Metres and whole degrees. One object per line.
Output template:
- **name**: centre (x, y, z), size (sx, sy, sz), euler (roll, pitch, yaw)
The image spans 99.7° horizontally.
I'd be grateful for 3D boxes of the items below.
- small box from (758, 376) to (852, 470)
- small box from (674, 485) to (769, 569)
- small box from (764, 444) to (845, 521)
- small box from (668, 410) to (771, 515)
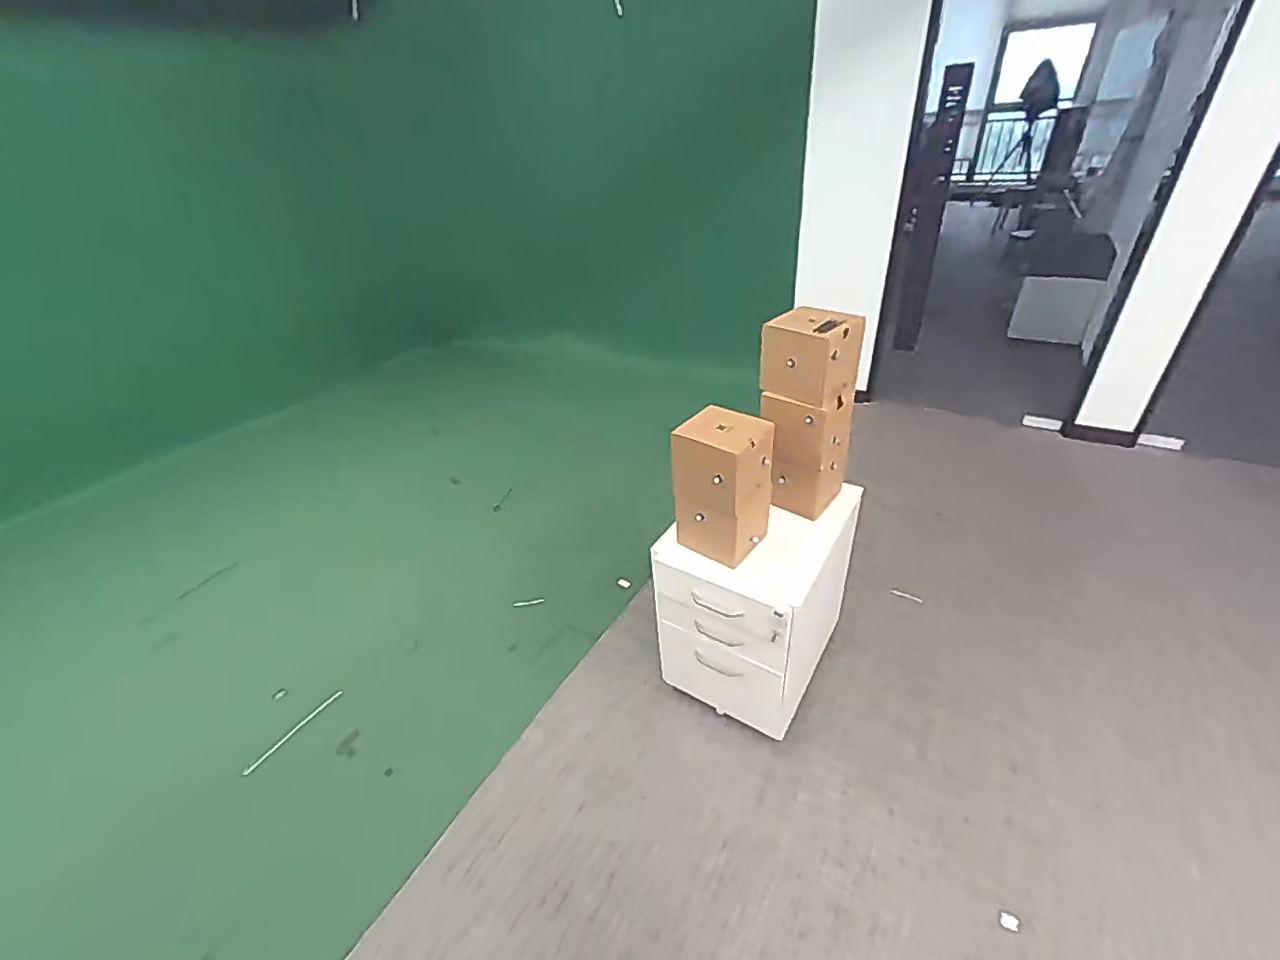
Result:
- **small box**: centre (0.414, -0.146, 1.384), size (0.179, 0.176, 0.168), euler (23, 44, 34)
- **small box**: centre (0.201, 0.093, 1.352), size (0.179, 0.176, 0.168), euler (23, 43, 33)
- **small box**: centre (0.433, -0.013, 1.476), size (0.179, 0.176, 0.168), euler (23, 43, 35)
- **small box**: centre (0.185, -0.040, 1.261), size (0.179, 0.176, 0.168), euler (21, 41, 34)
